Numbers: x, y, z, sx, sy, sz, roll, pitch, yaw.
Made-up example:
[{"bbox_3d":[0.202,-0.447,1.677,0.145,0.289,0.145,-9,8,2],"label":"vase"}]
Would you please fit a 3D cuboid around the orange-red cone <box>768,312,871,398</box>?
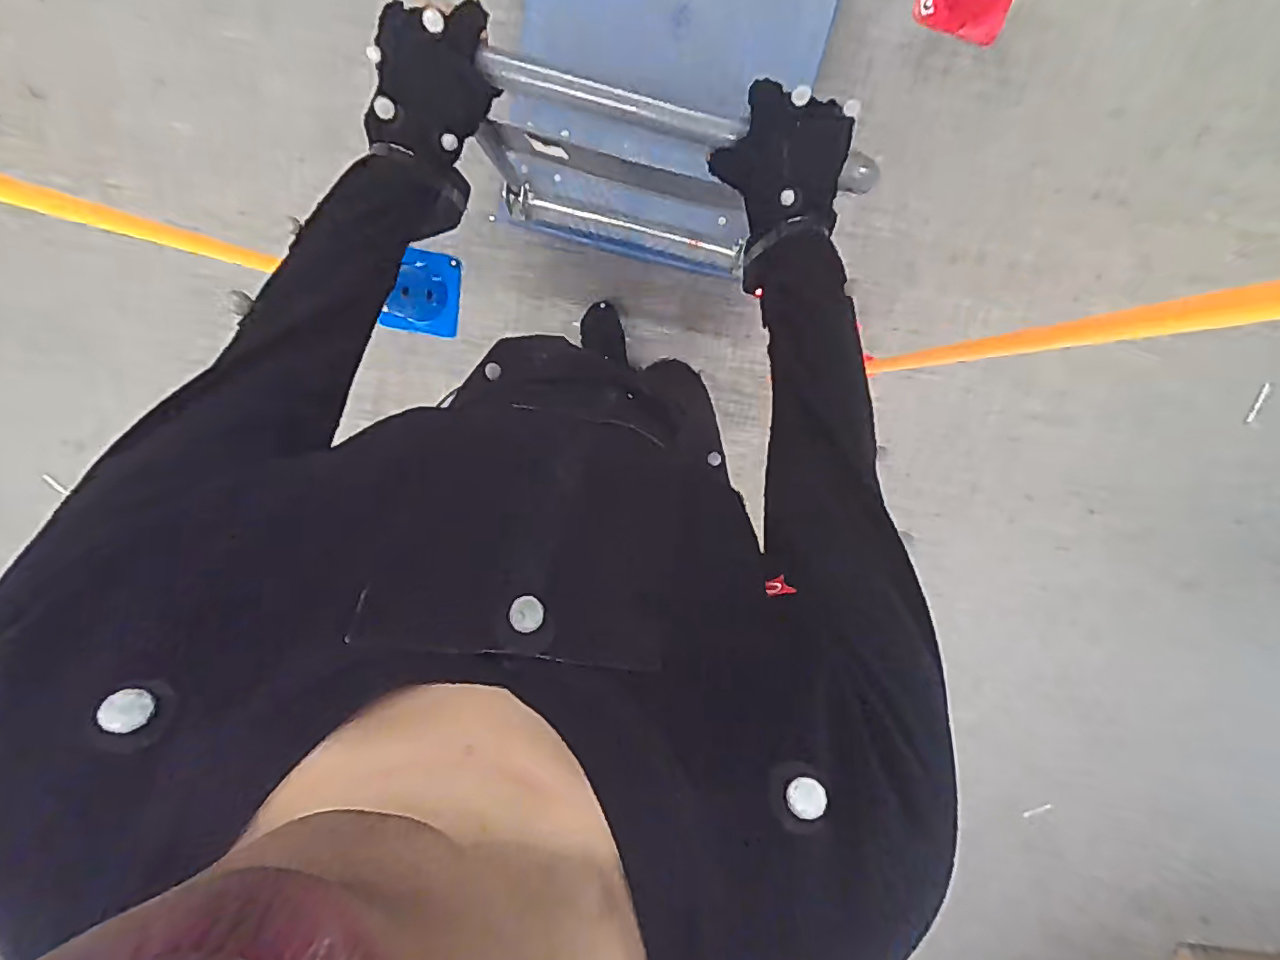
[{"bbox_3d":[0.439,-0.274,1.235,0.199,0.360,0.198,10,106,-1],"label":"orange-red cone"}]
